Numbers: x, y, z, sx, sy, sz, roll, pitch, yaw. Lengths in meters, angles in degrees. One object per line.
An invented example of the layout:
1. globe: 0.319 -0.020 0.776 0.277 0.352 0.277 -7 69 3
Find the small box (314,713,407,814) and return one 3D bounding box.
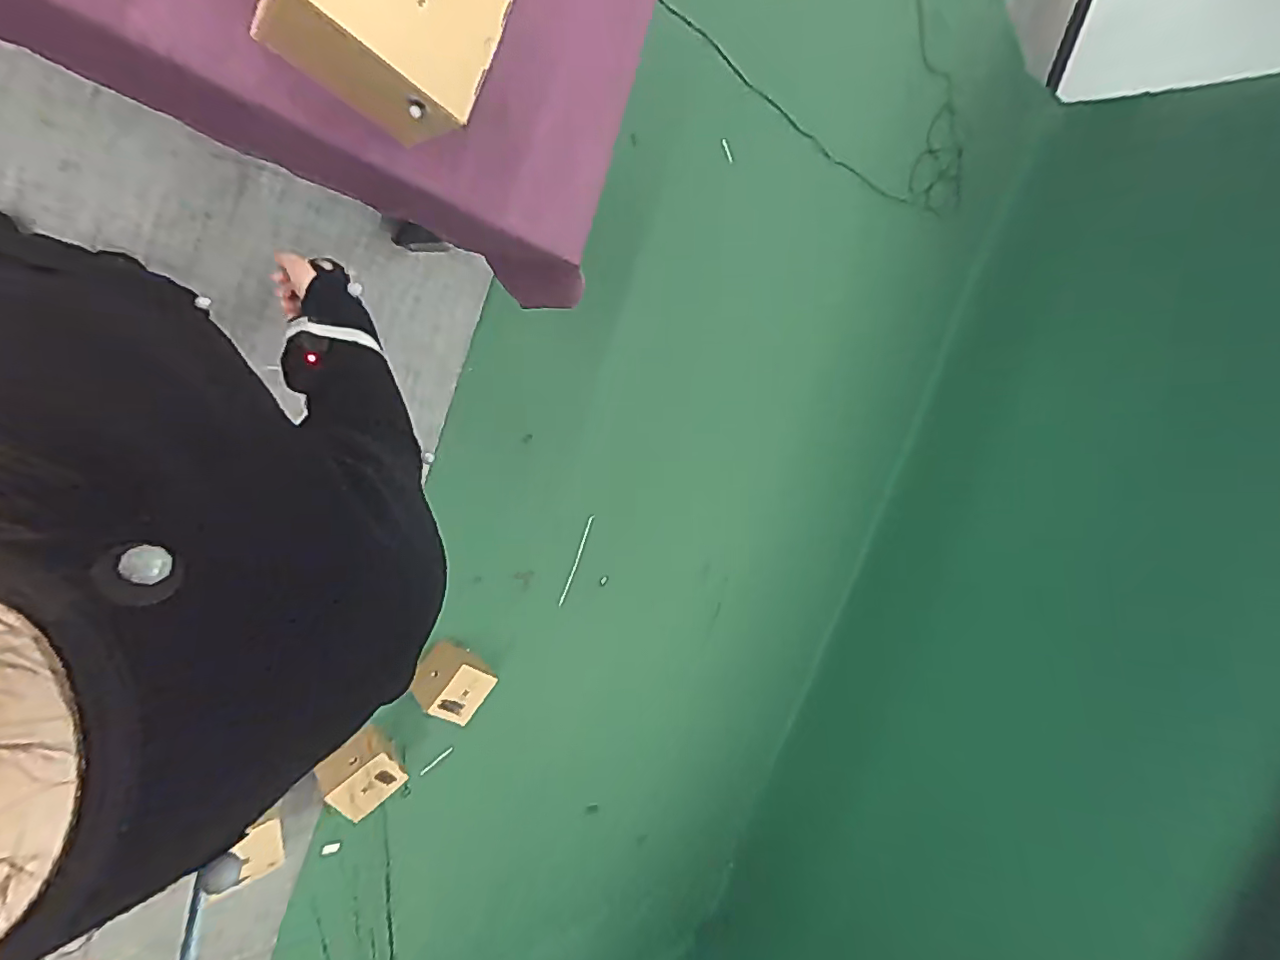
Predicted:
1. small box: -0.846 0.848 1.633 0.179 0.176 0.168 -35 129 -25

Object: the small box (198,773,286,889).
1. small box: -1.075 0.931 1.458 0.168 0.176 0.179 -9 114 -40

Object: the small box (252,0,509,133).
1. small box: -0.260 -0.487 0.545 0.179 0.176 0.168 19 94 -46
